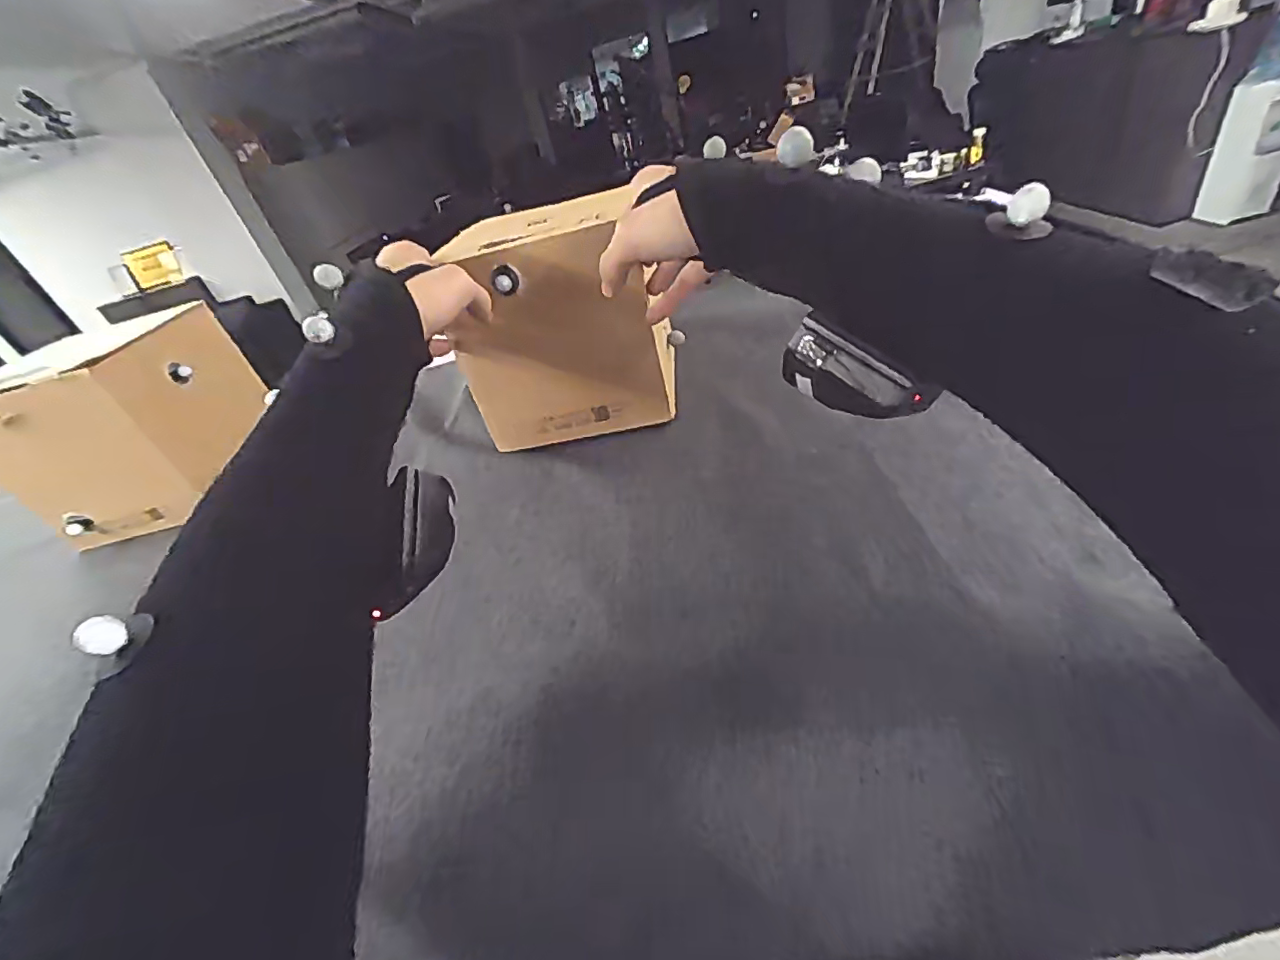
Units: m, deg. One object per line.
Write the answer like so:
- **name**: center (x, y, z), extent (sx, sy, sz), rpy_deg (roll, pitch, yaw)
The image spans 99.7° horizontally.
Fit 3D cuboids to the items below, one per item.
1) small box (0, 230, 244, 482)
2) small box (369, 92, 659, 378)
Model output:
- **small box**: center (-0.538, -0.114, 0.521), extent (0.168, 0.176, 0.179), rpy_deg (-14, 36, 3)
- **small box**: center (-0.081, -0.205, 0.457), extent (0.168, 0.176, 0.179), rpy_deg (-10, 34, 9)
